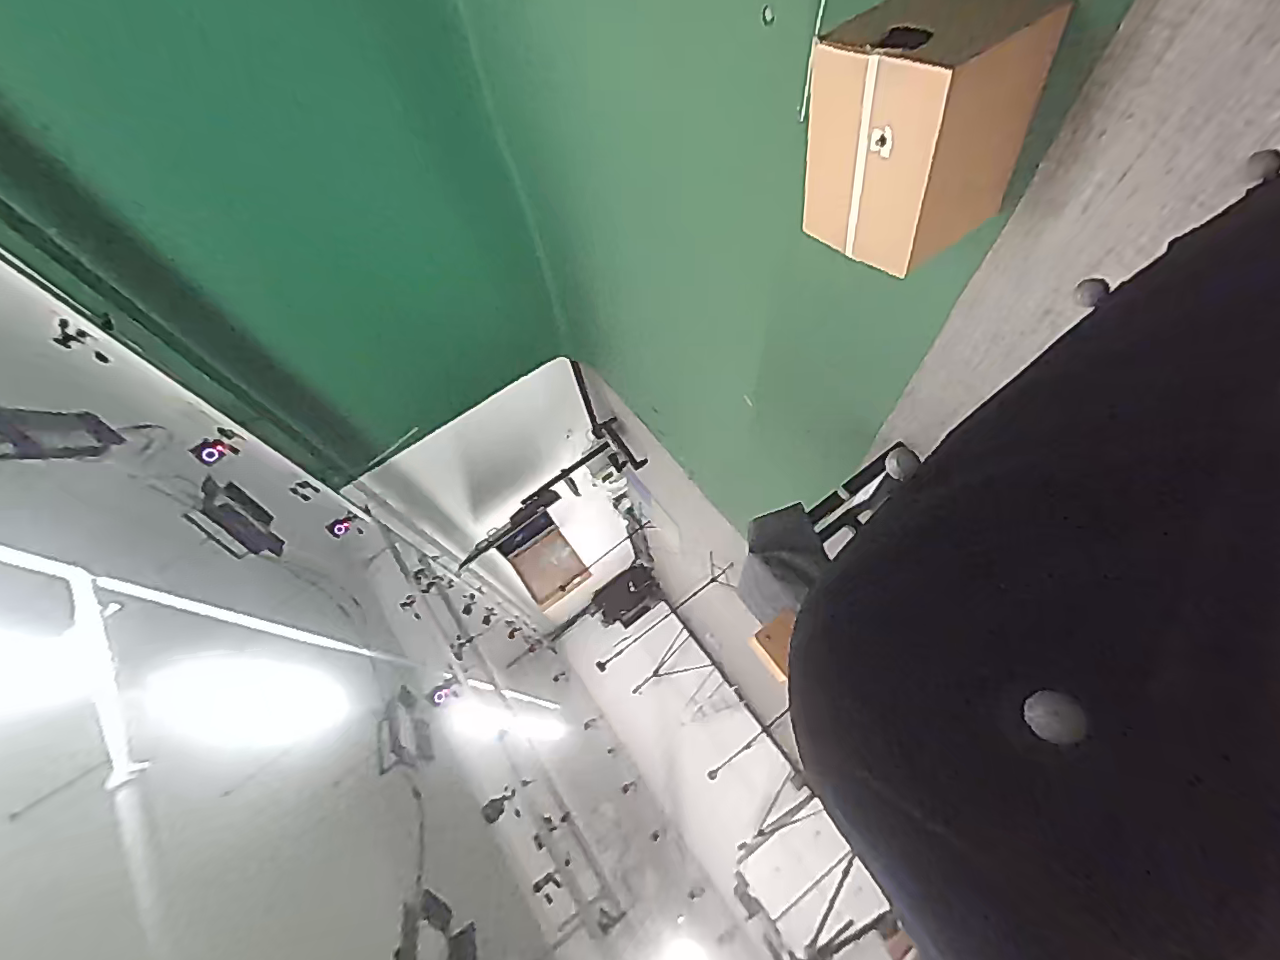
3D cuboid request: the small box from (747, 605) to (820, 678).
[{"bbox_3d":[0.501,0.565,1.891,0.179,0.176,0.168,51,169,21],"label":"small box"}]
